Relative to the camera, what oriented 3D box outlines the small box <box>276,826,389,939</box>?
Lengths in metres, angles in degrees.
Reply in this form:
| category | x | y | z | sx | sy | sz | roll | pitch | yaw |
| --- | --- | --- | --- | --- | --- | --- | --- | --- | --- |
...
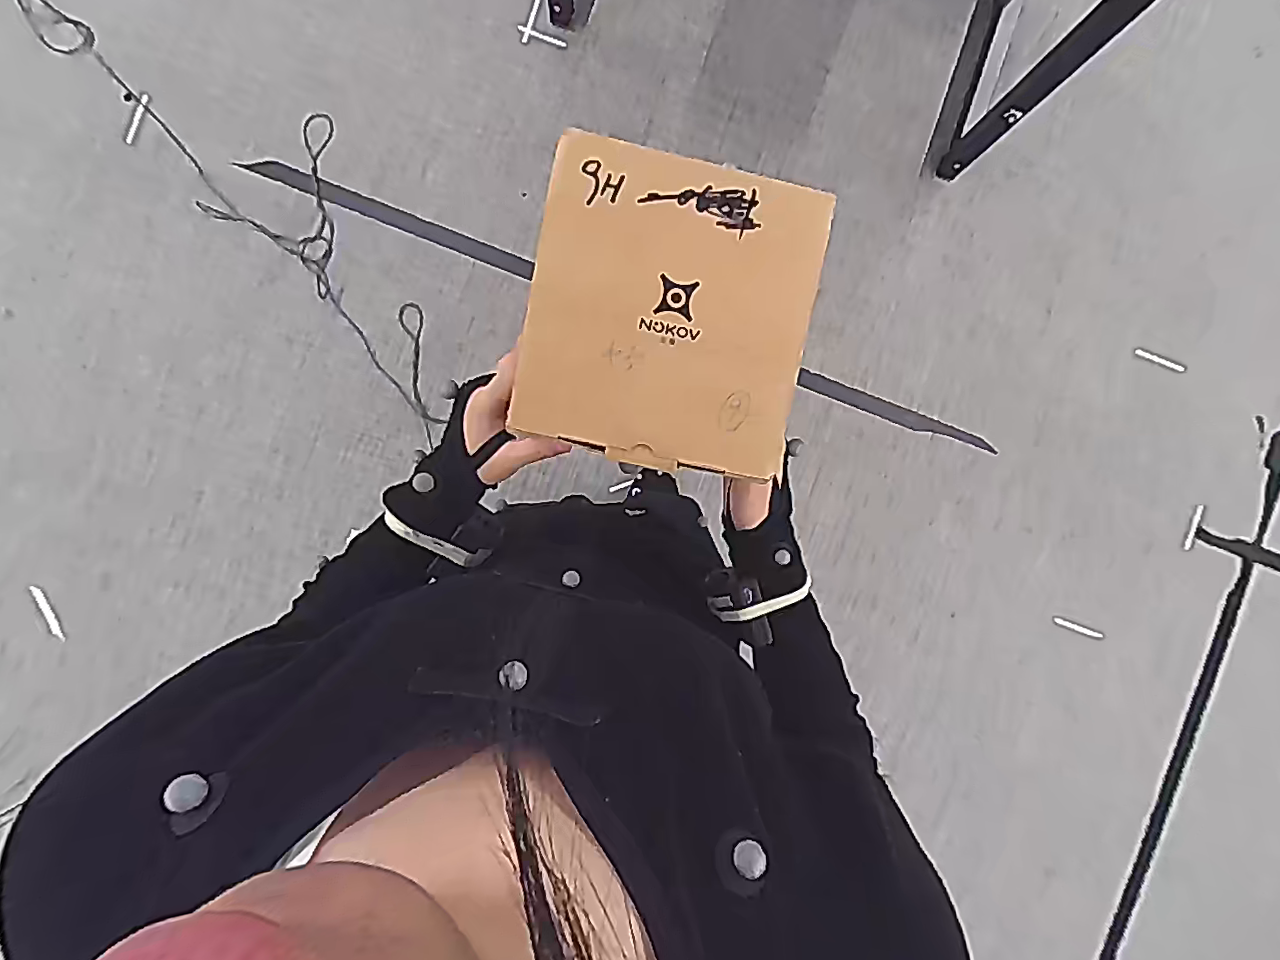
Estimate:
| category | x | y | z | sx | sy | sz | roll | pitch | yaw |
| --- | --- | --- | --- | --- | --- | --- | --- | --- | --- |
| small box | -0.779 | 1.011 | 1.384 | 0.179 | 0.176 | 0.168 | 14 | 92 | -4 |

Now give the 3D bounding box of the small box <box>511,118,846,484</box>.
| category | x | y | z | sx | sy | sz | roll | pitch | yaw |
| --- | --- | --- | --- | --- | --- | --- | --- | --- | --- |
| small box | 0.016 | -0.107 | 0.389 | 0.168 | 0.176 | 0.179 | 11 | 95 | -6 |

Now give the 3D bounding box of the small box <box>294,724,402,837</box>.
| category | x | y | z | sx | sy | sz | roll | pitch | yaw |
| --- | --- | --- | --- | --- | --- | --- | --- | --- | --- |
| small box | -0.733 | 0.755 | 1.379 | 0.168 | 0.176 | 0.179 | 16 | 91 | -3 |
